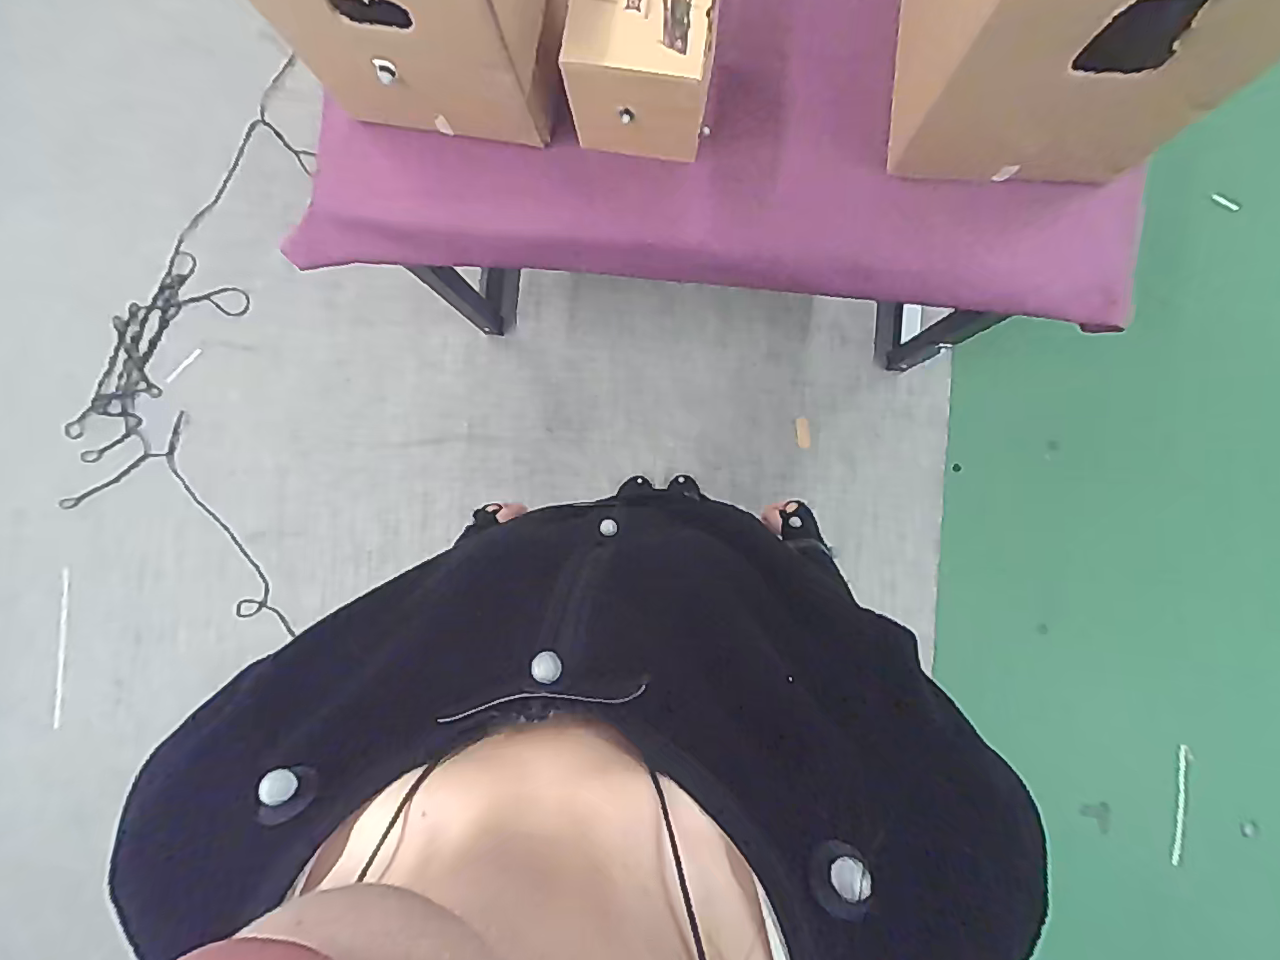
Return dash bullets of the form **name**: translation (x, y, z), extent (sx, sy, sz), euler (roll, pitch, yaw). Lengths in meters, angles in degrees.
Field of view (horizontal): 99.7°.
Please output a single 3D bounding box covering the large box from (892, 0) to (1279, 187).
- **large box**: translation (0.517, -0.625, 0.630), extent (0.320, 0.320, 0.408), euler (5, 90, 6)
